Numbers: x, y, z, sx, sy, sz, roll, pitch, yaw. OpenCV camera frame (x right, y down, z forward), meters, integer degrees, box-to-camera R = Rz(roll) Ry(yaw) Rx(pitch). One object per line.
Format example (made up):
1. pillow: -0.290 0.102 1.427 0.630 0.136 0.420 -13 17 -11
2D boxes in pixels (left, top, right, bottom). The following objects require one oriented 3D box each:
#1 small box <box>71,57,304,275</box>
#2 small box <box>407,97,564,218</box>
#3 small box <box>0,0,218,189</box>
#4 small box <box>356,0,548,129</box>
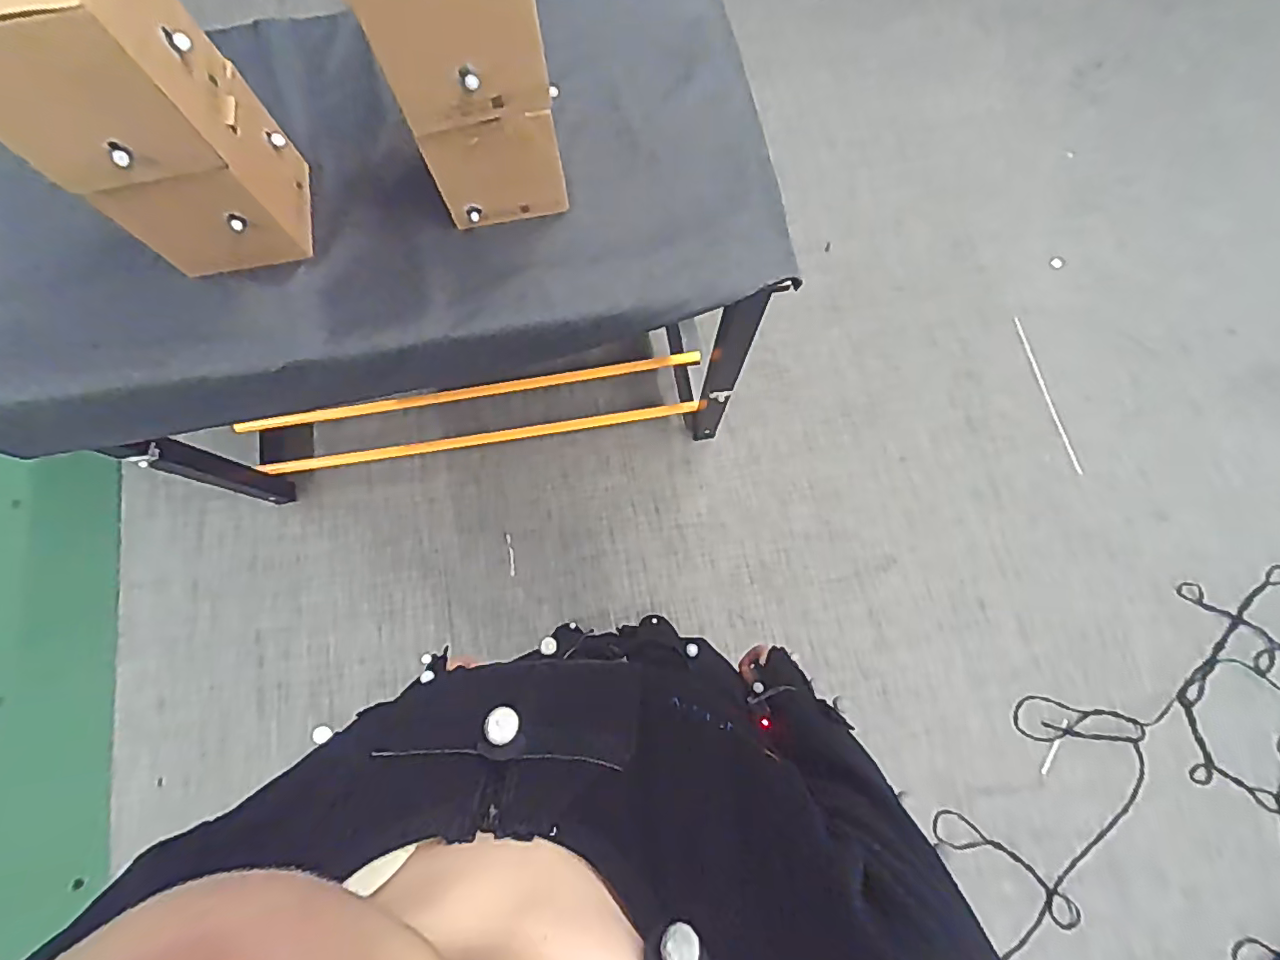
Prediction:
1. small box: -0.566 -0.396 0.704 0.179 0.176 0.168 -11 75 -2
2. small box: -0.202 -0.479 0.725 0.168 0.176 0.179 -11 75 -3
3. small box: -0.565 -0.431 0.543 0.179 0.176 0.168 -14 75 -4
4. small box: -0.205 -0.517 0.564 0.168 0.176 0.179 -16 77 -4
